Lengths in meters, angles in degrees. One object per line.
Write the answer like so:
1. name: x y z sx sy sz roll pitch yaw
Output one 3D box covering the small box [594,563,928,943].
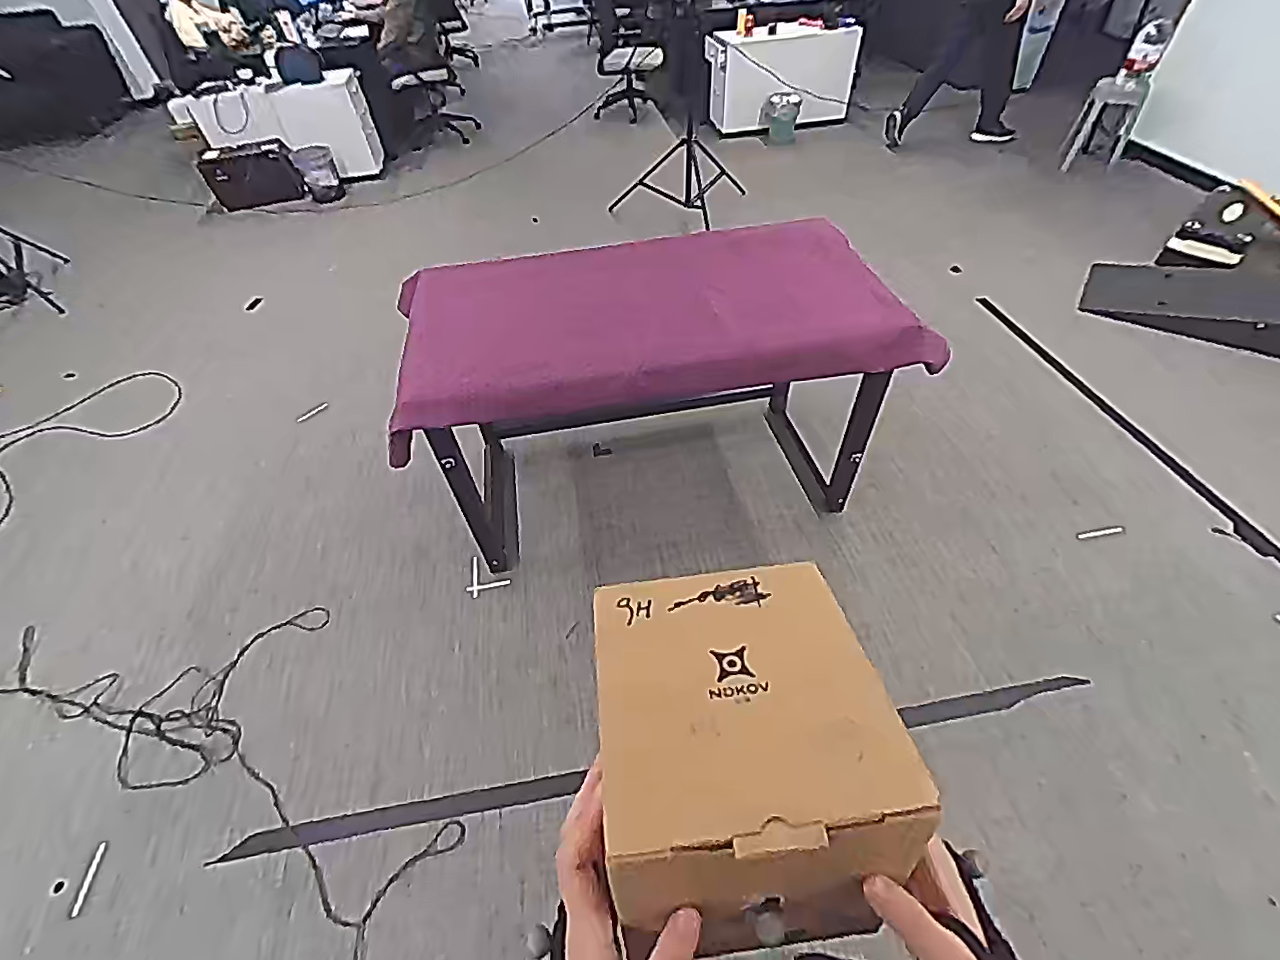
1. small box: 0.060 0.185 0.374 0.168 0.176 0.179 -6 36 -3
